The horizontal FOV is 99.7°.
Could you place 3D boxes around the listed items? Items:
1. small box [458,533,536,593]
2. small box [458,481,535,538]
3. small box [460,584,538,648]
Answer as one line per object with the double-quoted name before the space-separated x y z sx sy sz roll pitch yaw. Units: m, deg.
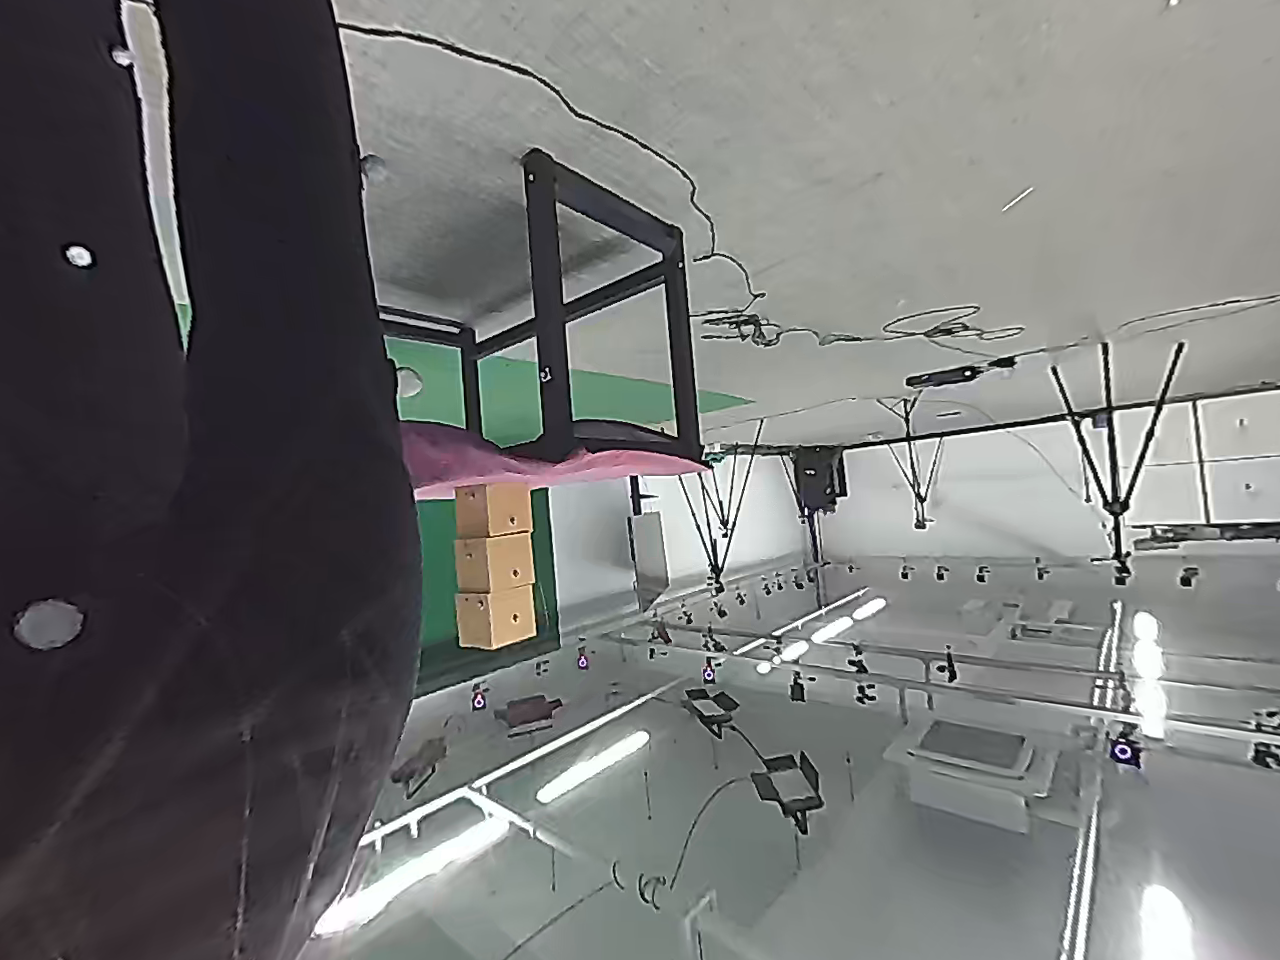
"small box" -0.454 0.257 1.718 0.168 0.176 0.179 -9 175 38
"small box" -0.463 0.094 1.741 0.168 0.176 0.179 -8 176 36
"small box" -0.448 0.421 1.705 0.168 0.176 0.179 -8 177 37
